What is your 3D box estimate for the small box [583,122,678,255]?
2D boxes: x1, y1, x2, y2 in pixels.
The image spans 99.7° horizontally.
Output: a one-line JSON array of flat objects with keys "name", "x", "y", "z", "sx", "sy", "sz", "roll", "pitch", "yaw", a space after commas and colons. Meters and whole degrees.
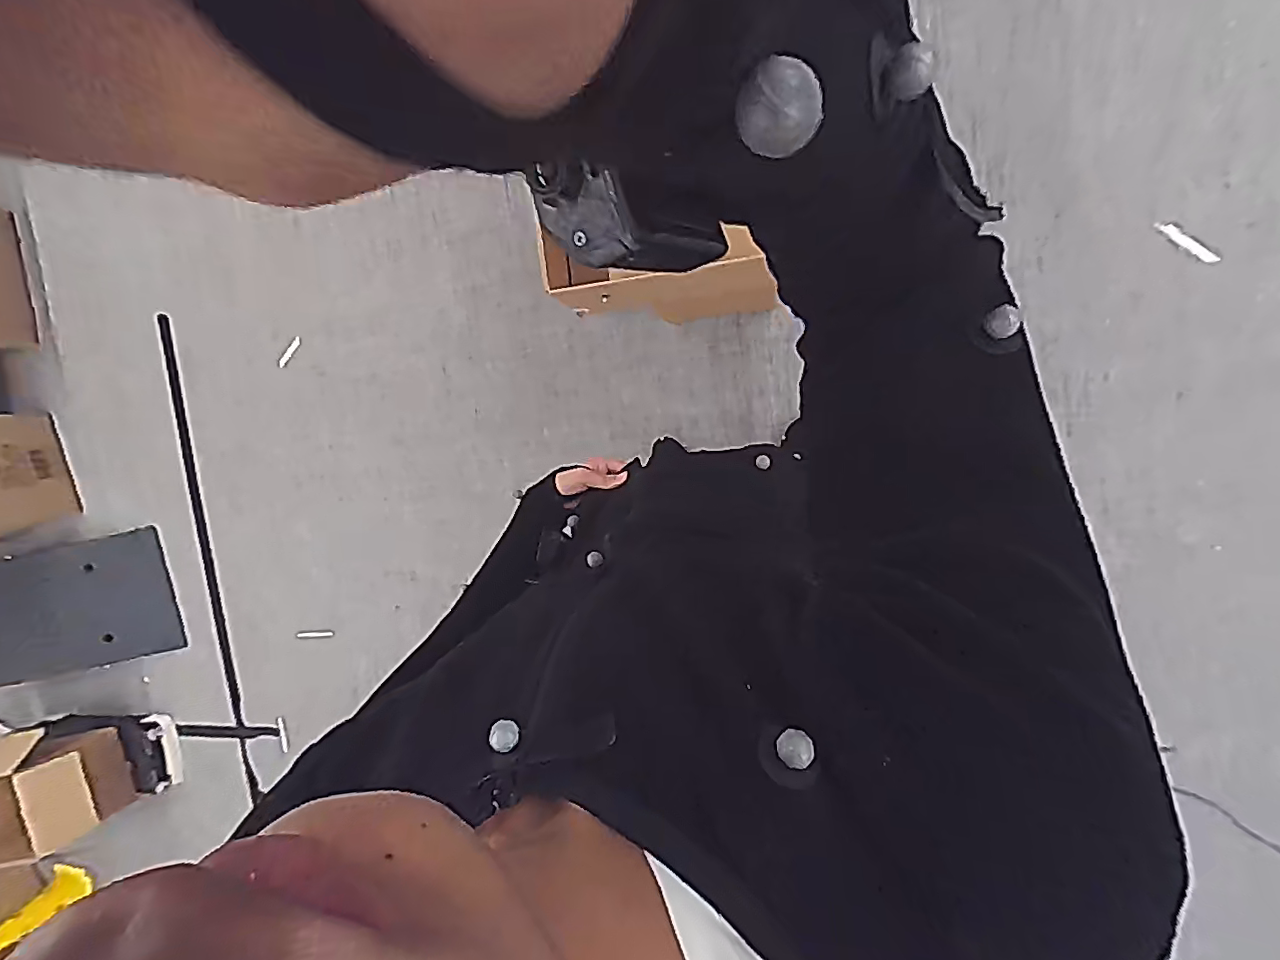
[{"name": "small box", "x": -0.021, "y": -0.581, "z": 1.095, "sx": 0.168, "sy": 0.176, "sz": 0.179, "roll": -6, "pitch": 96, "yaw": 13}]
